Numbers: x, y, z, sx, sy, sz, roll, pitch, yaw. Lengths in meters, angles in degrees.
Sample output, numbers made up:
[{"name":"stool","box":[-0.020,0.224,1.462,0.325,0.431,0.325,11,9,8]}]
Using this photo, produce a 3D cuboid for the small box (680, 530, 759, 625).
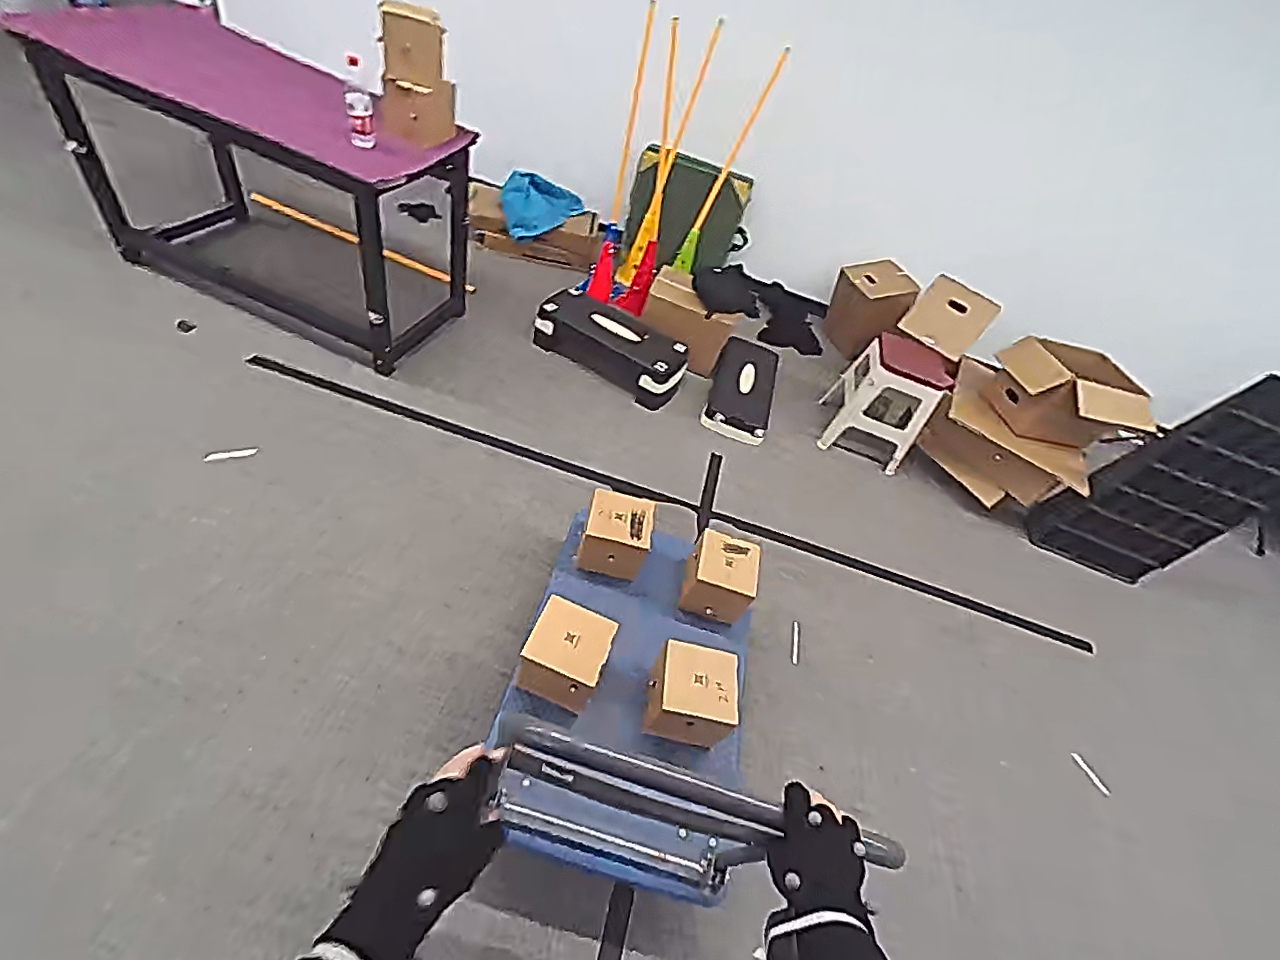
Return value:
[{"name":"small box","box":[0.222,0.277,1.523,0.168,0.176,0.179,19,47,-2]}]

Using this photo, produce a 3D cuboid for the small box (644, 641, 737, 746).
[{"name":"small box","box":[0.117,0.508,1.278,0.179,0.176,0.168,15,47,-6]}]

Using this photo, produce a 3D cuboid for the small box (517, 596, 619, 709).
[{"name":"small box","box":[-0.173,0.408,1.266,0.179,0.176,0.168,24,46,1]}]
